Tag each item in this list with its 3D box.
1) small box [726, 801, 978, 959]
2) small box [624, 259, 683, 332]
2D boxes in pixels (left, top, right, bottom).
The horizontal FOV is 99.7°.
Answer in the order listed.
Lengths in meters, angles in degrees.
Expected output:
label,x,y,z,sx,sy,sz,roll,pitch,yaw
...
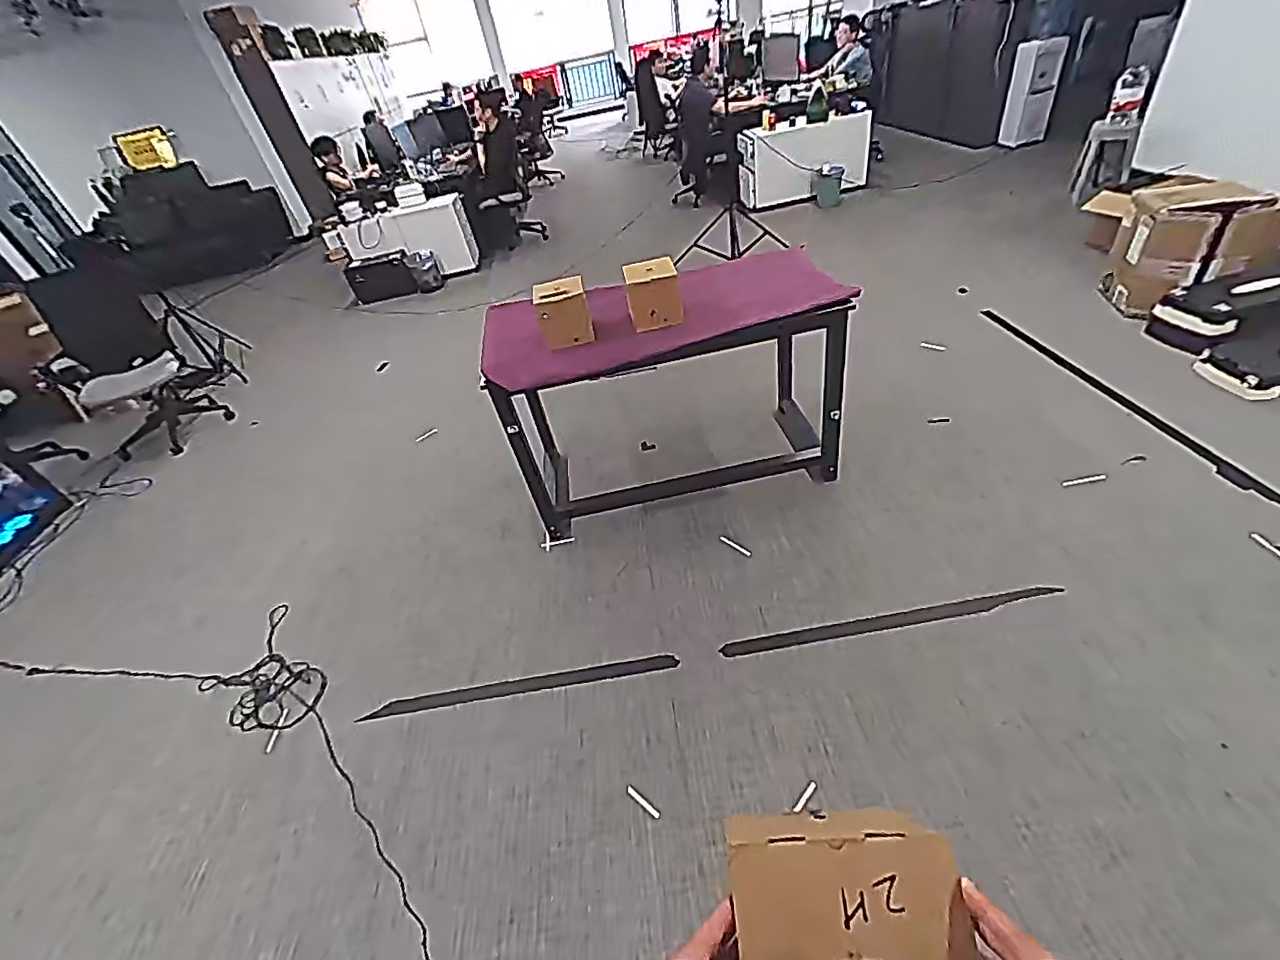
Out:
label,x,y,z,sx,sy,sz,roll,pitch,yaw
small box,0.164,0.377,0.446,0.168,0.176,0.179,-6,64,6
small box,0.045,-0.618,1.818,0.168,0.176,0.179,-12,40,1
